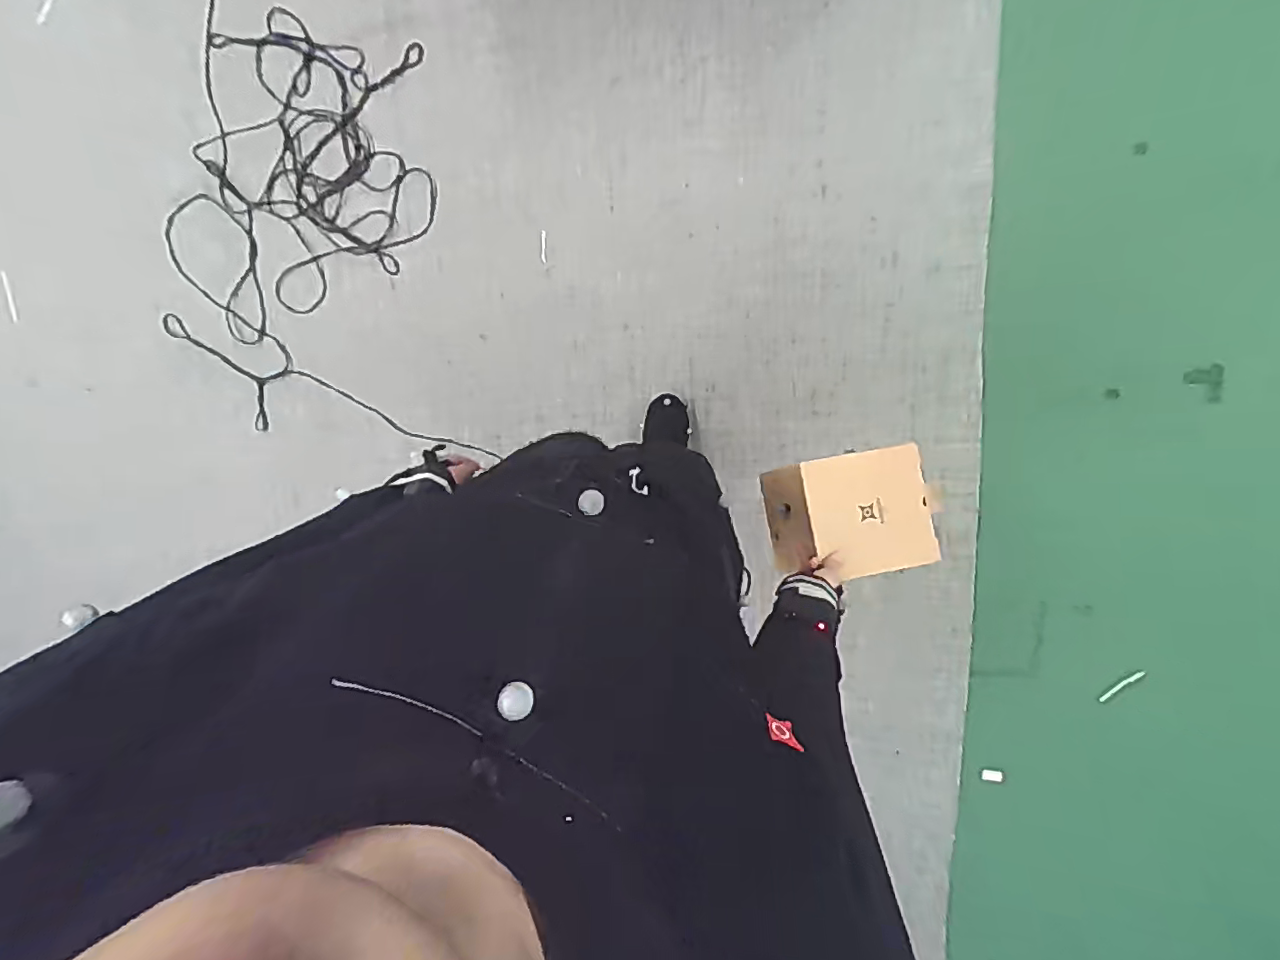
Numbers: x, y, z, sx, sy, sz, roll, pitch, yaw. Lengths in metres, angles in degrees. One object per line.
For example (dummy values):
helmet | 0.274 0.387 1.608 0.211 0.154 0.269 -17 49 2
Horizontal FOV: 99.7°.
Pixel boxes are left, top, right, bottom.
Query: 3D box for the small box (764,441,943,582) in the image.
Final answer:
small box | 0.295 0.049 0.791 0.179 0.176 0.168 -10 86 -9
